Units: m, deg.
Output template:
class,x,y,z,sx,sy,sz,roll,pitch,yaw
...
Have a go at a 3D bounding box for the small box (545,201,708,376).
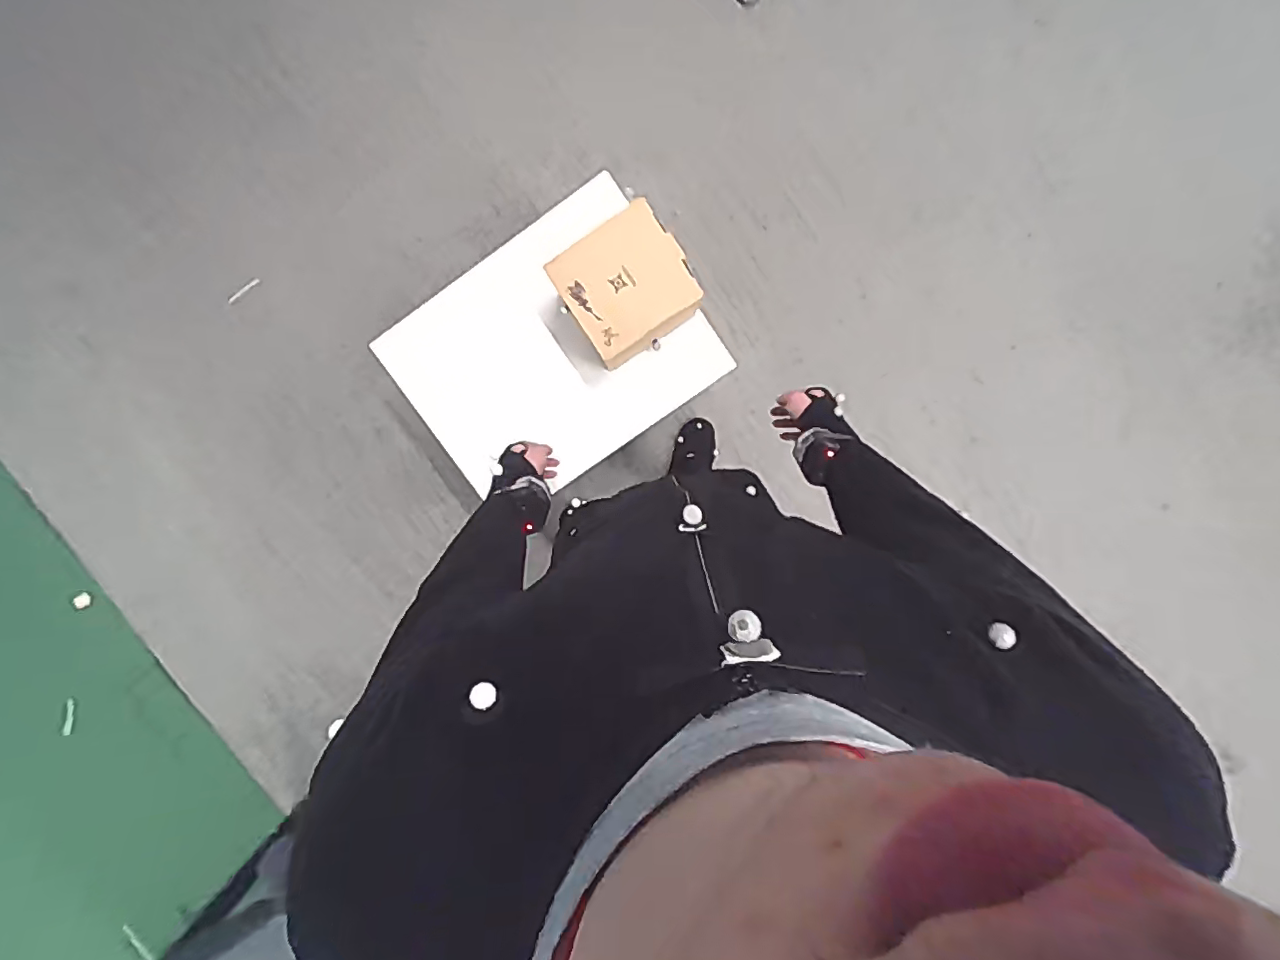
class,x,y,z,sx,sy,sz,roll,pitch,yaw
small box,-0.023,-0.278,0.829,0.179,0.176,0.168,-34,95,1
